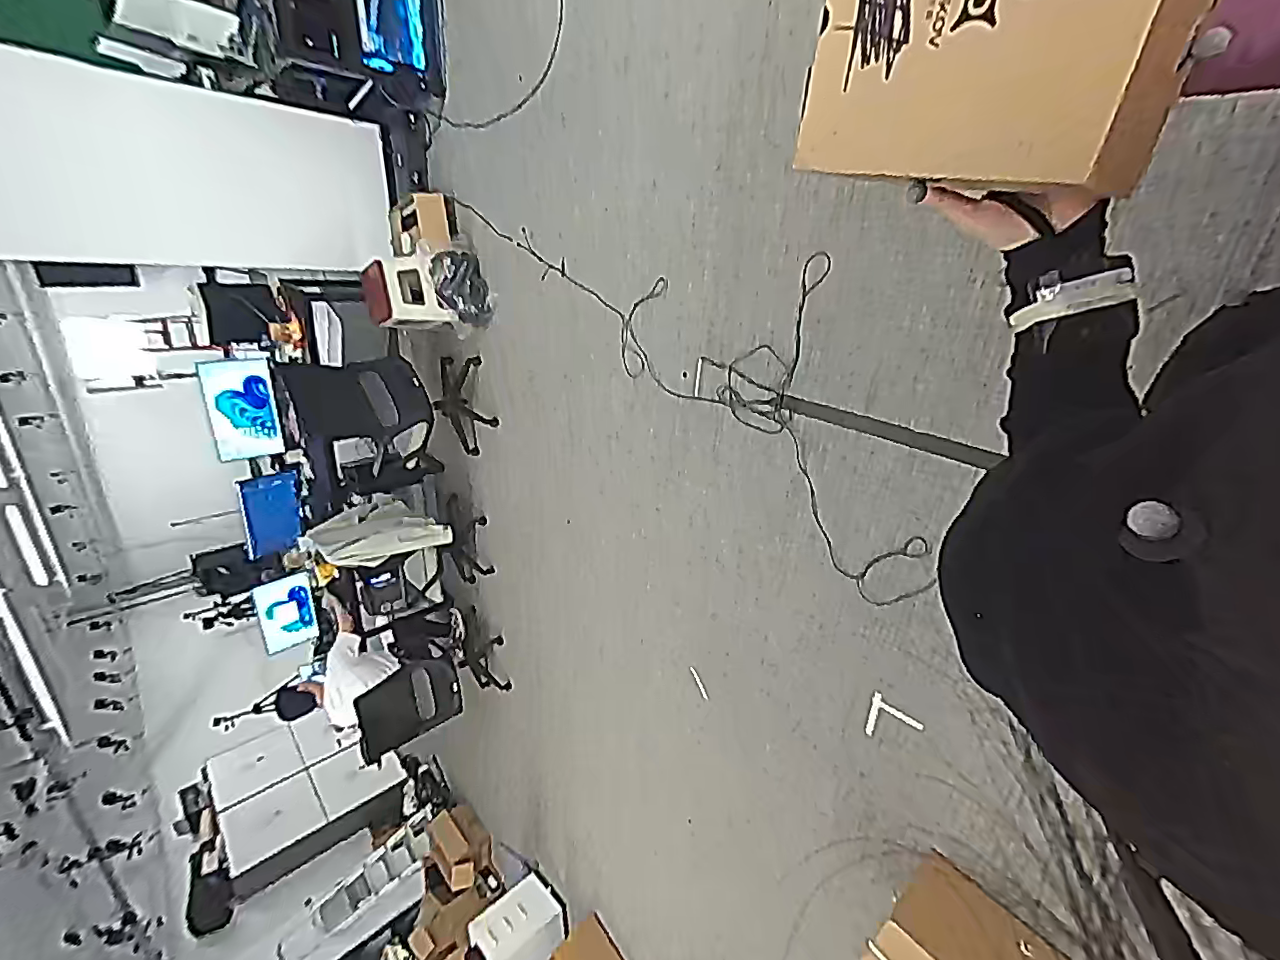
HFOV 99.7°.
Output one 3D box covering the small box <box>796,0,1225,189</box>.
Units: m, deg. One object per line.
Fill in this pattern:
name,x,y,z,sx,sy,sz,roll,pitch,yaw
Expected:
small box,0.230,-0.280,0.334,0.179,0.176,0.168,29,127,37
